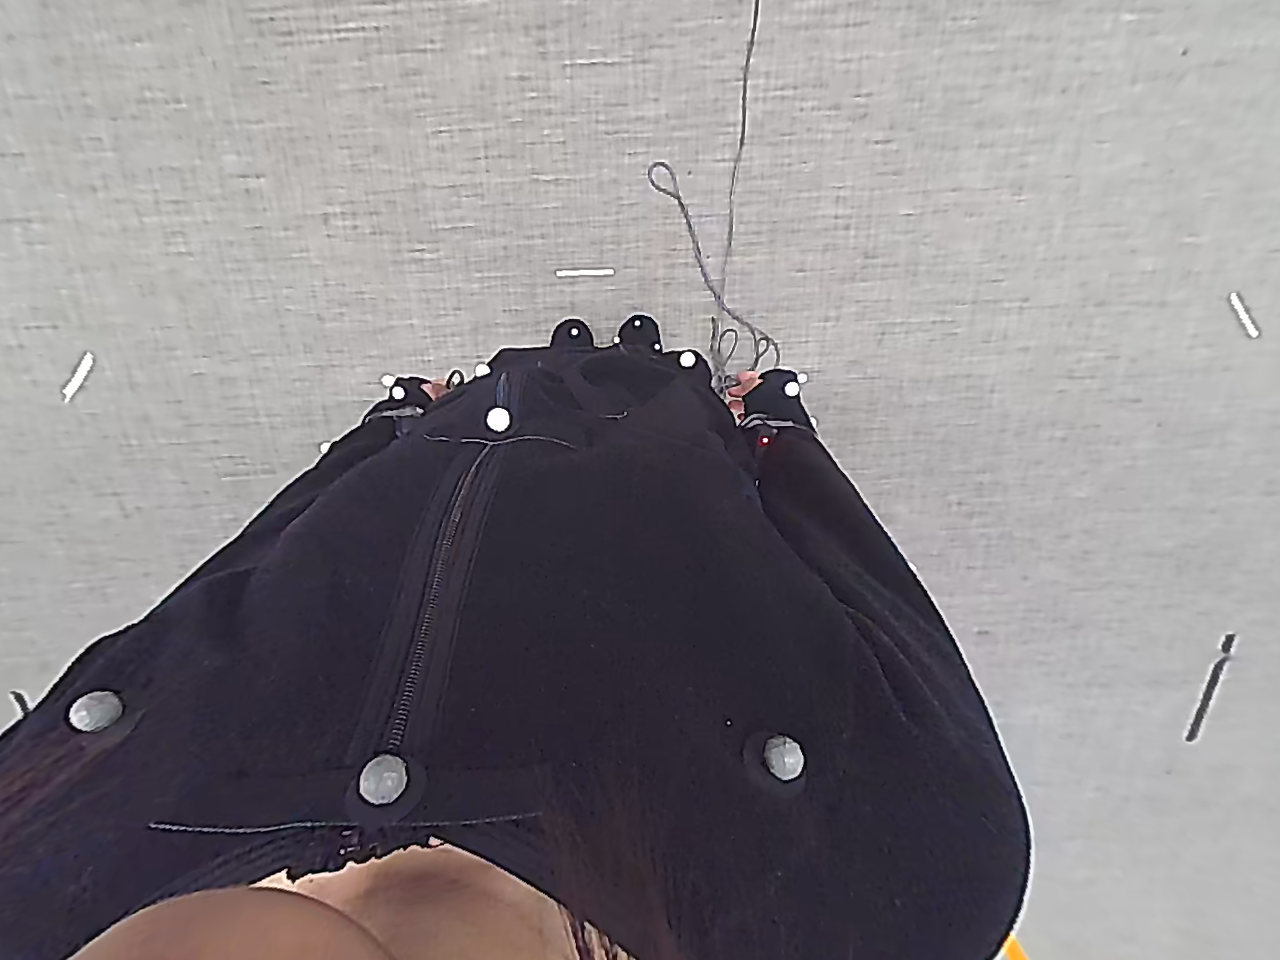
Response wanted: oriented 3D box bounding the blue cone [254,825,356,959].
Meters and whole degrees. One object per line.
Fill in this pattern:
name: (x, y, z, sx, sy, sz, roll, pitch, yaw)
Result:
blue cone: (-1.084, 1.323, 1.717, 0.193, 0.380, 0.192, 1, 108, -1)
